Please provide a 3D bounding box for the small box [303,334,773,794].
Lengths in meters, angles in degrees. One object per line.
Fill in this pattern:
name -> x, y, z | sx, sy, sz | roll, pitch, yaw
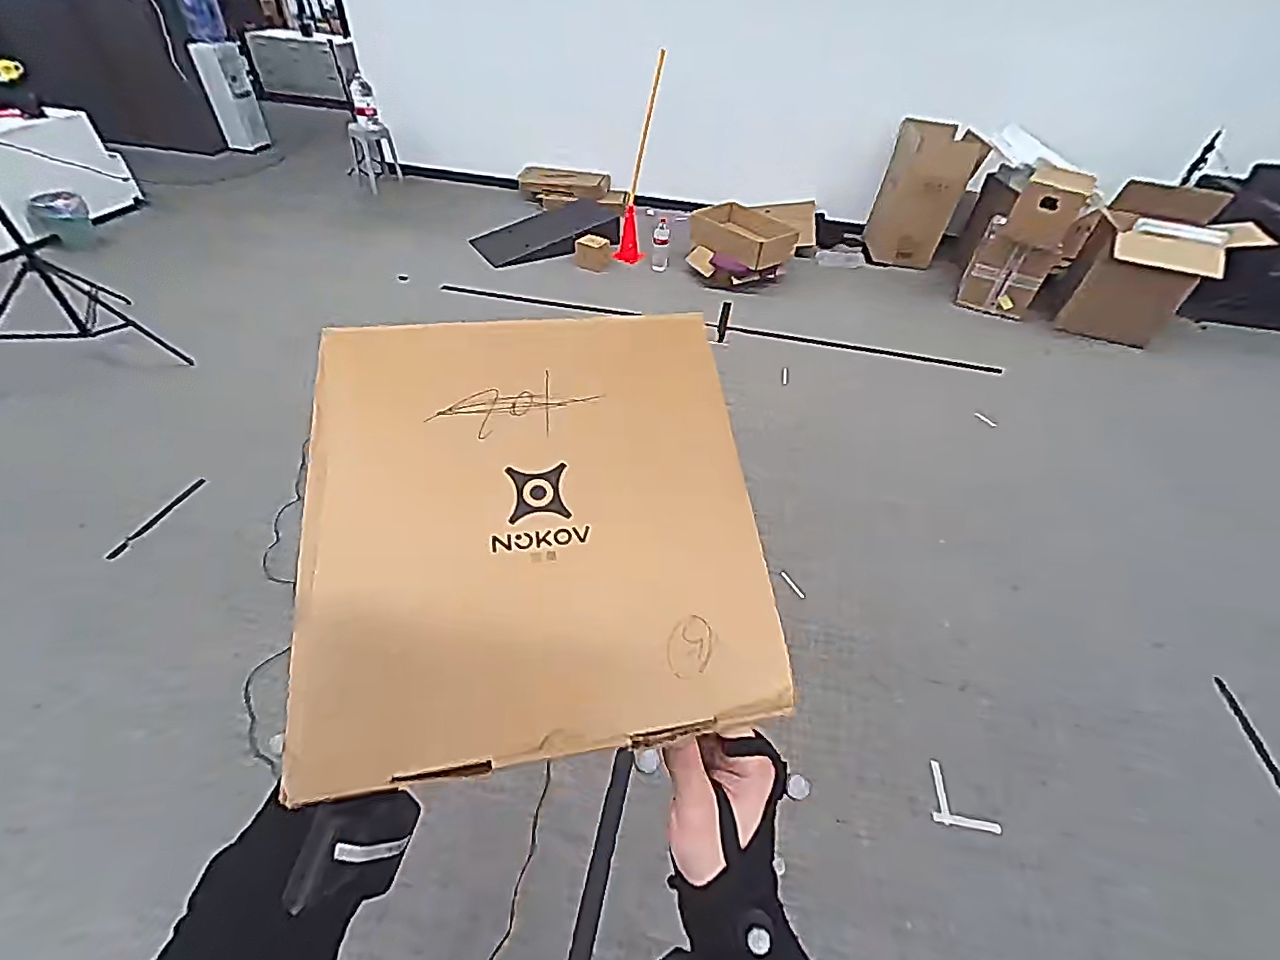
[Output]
small box -> -0.051, 0.048, 0.291 | 0.168, 0.176, 0.179 | -6, 65, -11
